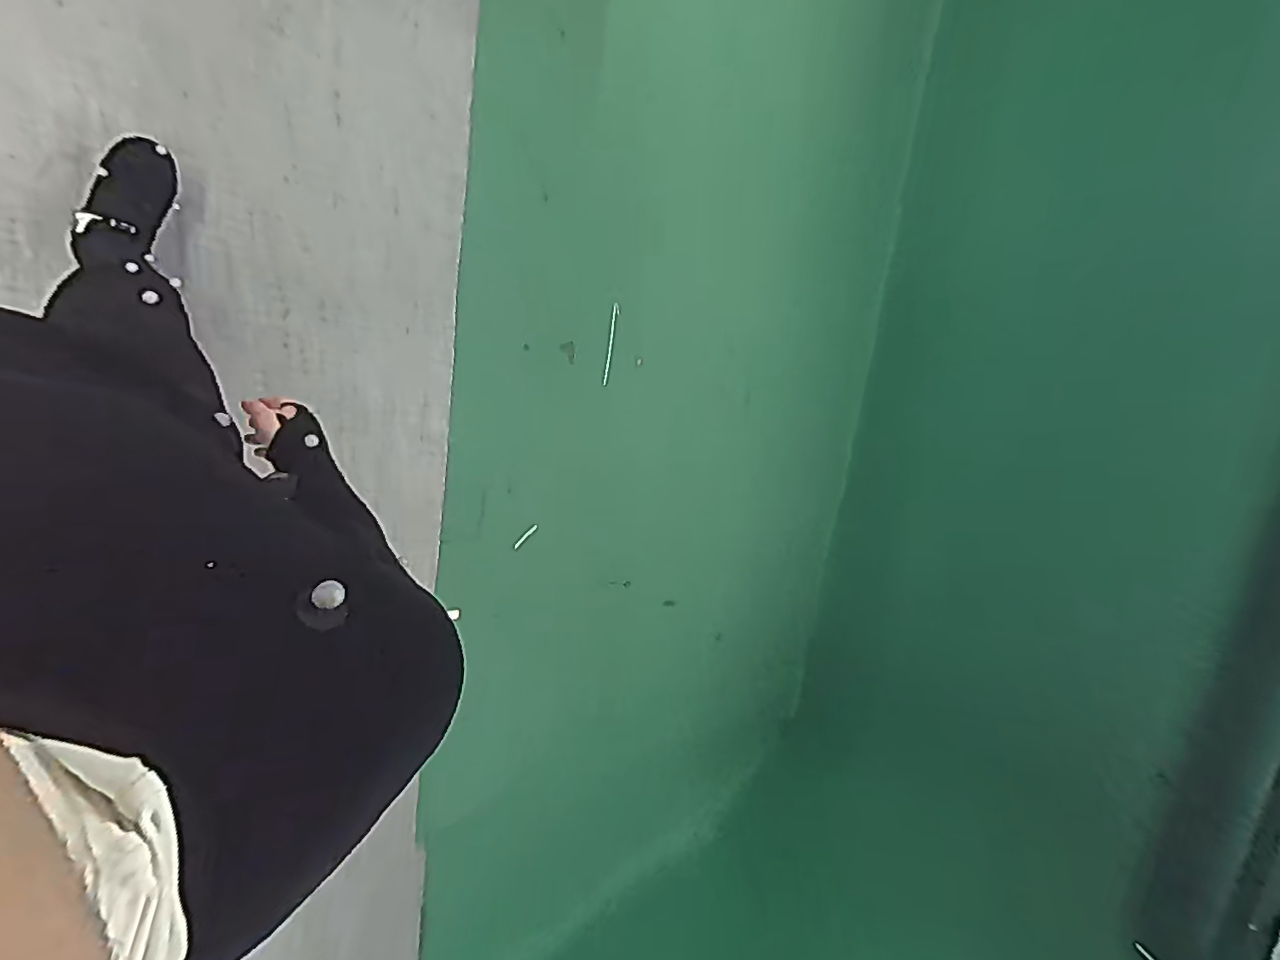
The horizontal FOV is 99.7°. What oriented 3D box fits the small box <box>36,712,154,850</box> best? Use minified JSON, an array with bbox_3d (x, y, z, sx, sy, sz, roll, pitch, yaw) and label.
[{"bbox_3d":[-1.185,0.644,1.179,0.168,0.176,0.179,4,100,-47],"label":"small box"}]
